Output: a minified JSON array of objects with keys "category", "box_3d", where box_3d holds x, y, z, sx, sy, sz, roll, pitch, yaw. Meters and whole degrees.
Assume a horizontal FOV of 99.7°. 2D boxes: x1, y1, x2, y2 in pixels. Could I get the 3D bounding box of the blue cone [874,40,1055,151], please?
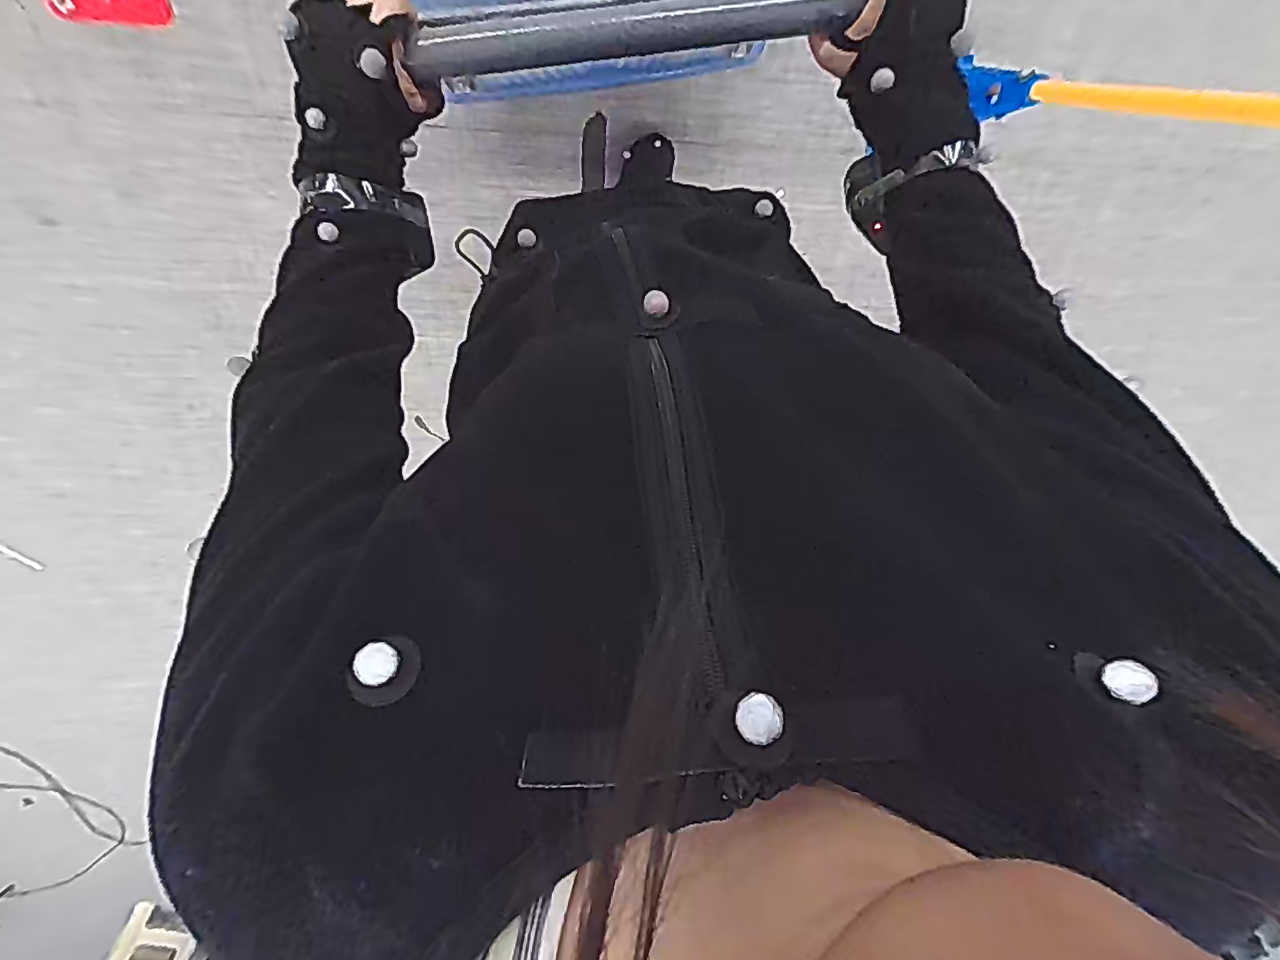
[{"category":"blue cone","box_3d":[0.612,-0.725,1.005,0.193,0.380,0.192,-3,122,-5]}]
